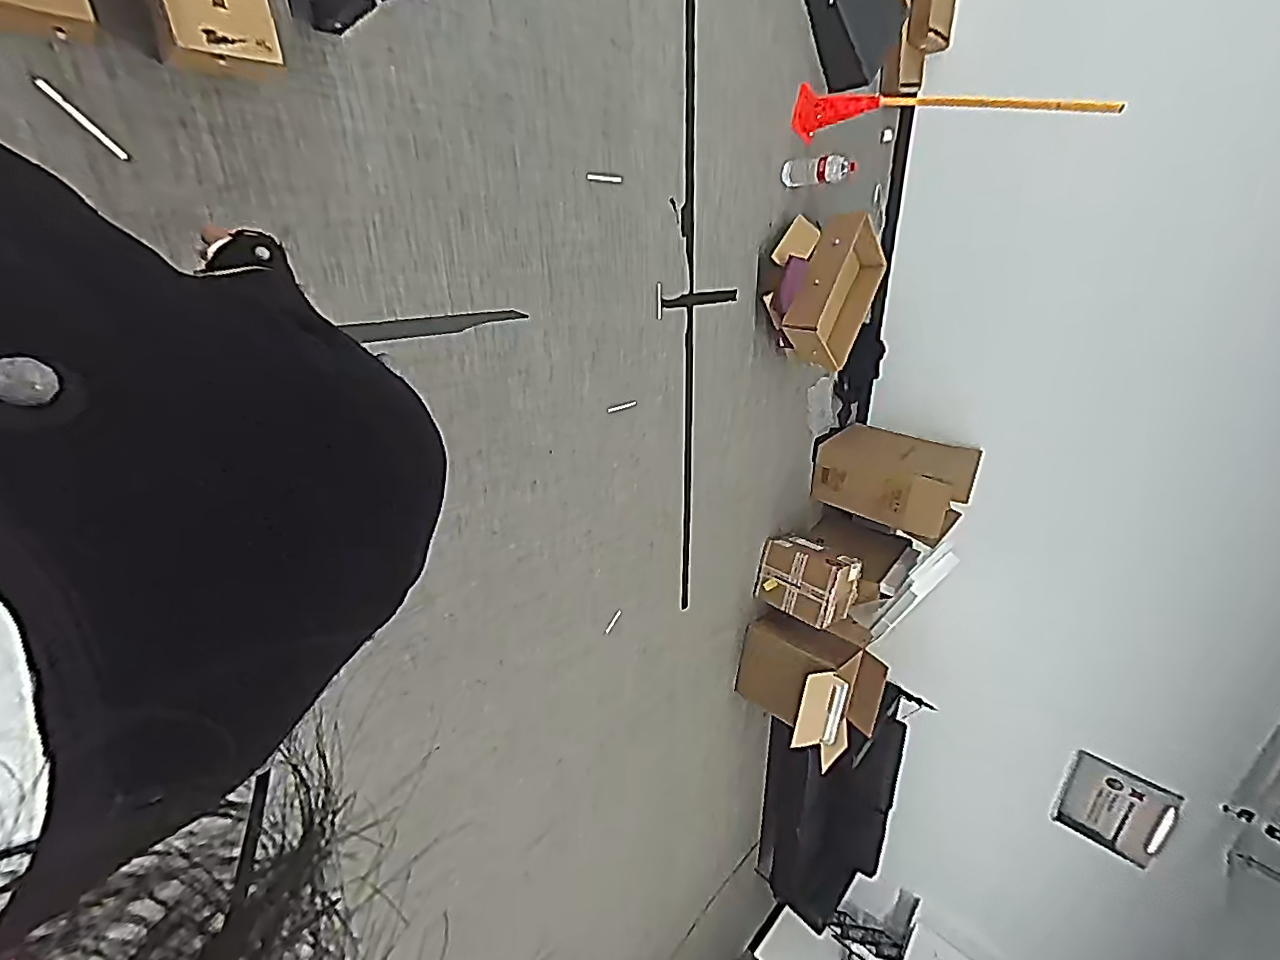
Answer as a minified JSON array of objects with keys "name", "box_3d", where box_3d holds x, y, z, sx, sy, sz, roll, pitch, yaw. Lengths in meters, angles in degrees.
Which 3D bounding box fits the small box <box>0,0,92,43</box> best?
[{"name":"small box","box_3d":[-0.981,-0.793,0.815,0.179,0.176,0.168,-22,121,-40]}]

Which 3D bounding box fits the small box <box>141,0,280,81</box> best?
[{"name":"small box","box_3d":[-0.796,-0.865,0.988,0.168,0.176,0.179,-24,121,-40]}]
